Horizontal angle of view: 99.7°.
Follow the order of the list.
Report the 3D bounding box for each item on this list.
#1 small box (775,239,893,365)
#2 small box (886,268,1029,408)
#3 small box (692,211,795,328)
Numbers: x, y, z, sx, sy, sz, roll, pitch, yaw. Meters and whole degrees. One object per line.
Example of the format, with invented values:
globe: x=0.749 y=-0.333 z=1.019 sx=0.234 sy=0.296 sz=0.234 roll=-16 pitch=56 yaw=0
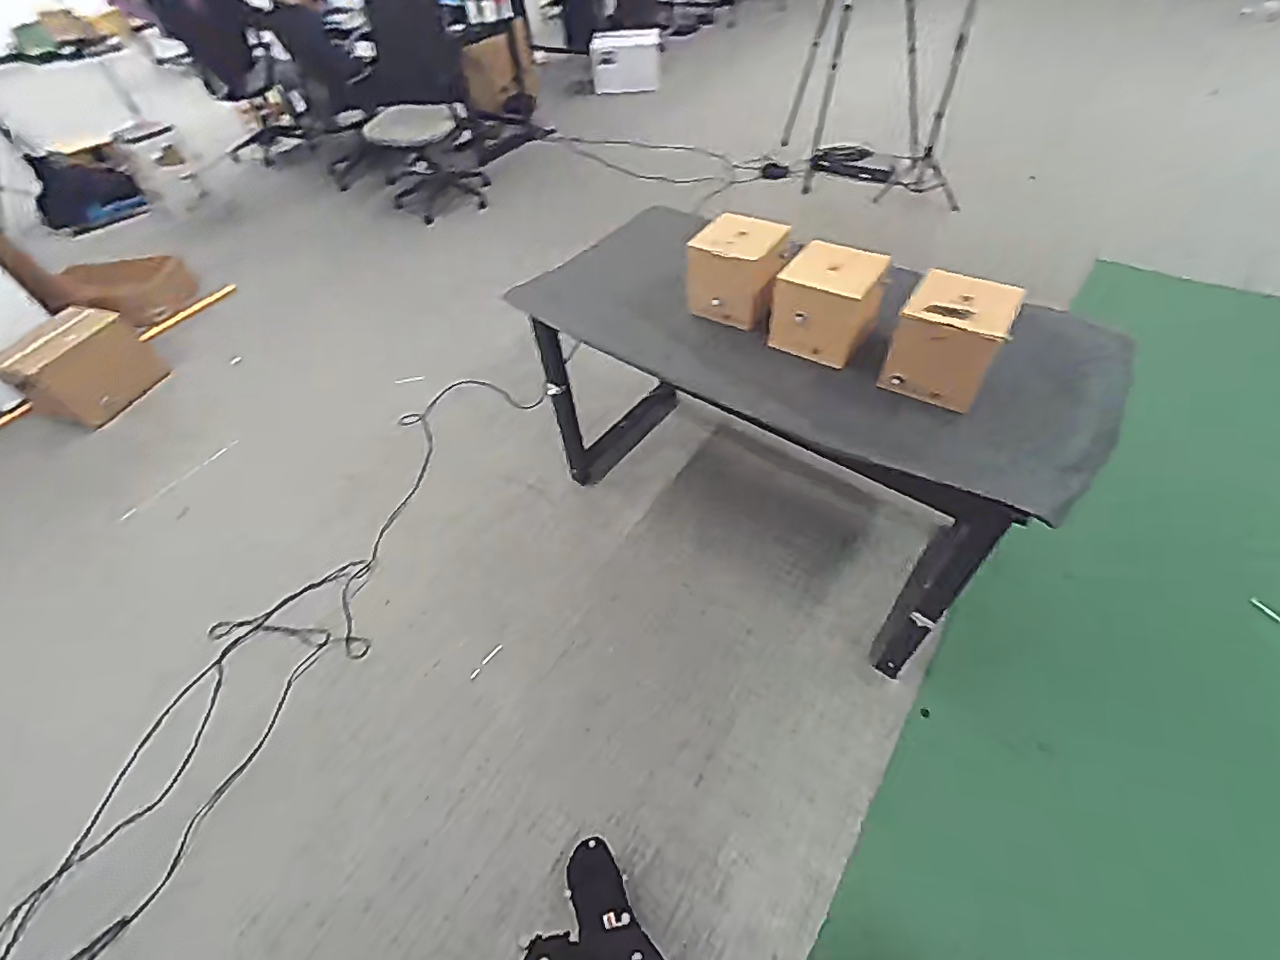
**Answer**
small box: x=0.392 y=-0.364 z=1.115 sx=0.168 sy=0.176 sz=0.179 roll=26 pitch=56 yaw=25
small box: x=0.581 y=-0.262 z=1.008 sx=0.168 sy=0.176 sz=0.179 roll=26 pitch=56 yaw=25
small box: x=0.227 y=-0.475 z=1.221 sx=0.168 sy=0.176 sz=0.179 roll=26 pitch=57 yaw=25
